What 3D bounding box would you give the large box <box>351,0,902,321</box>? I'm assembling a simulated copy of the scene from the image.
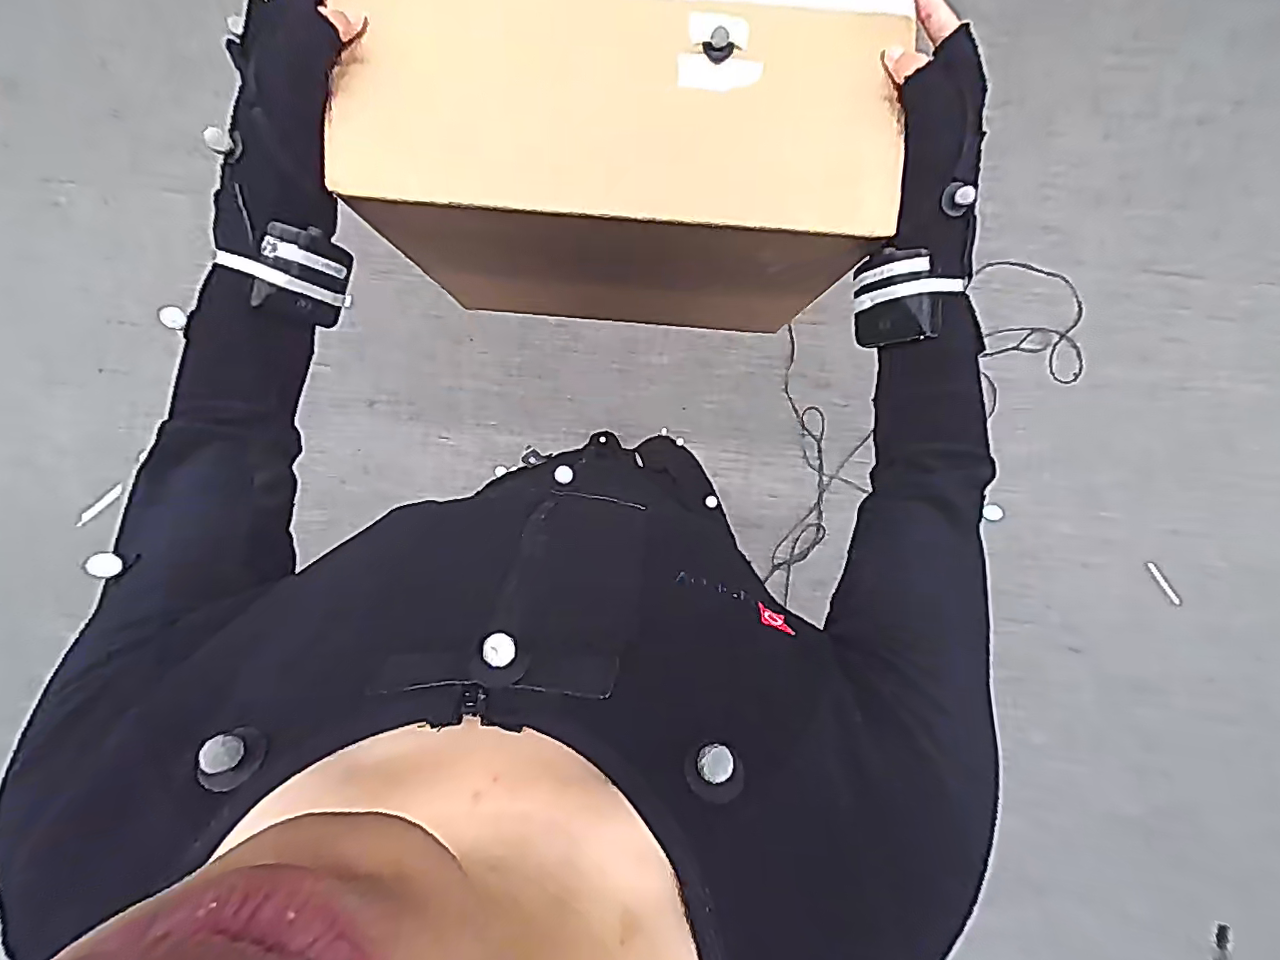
[{"bbox_3d":[-0.011,-0.359,0.541,0.408,0.320,0.320,4,93,-2],"label":"large box"}]
